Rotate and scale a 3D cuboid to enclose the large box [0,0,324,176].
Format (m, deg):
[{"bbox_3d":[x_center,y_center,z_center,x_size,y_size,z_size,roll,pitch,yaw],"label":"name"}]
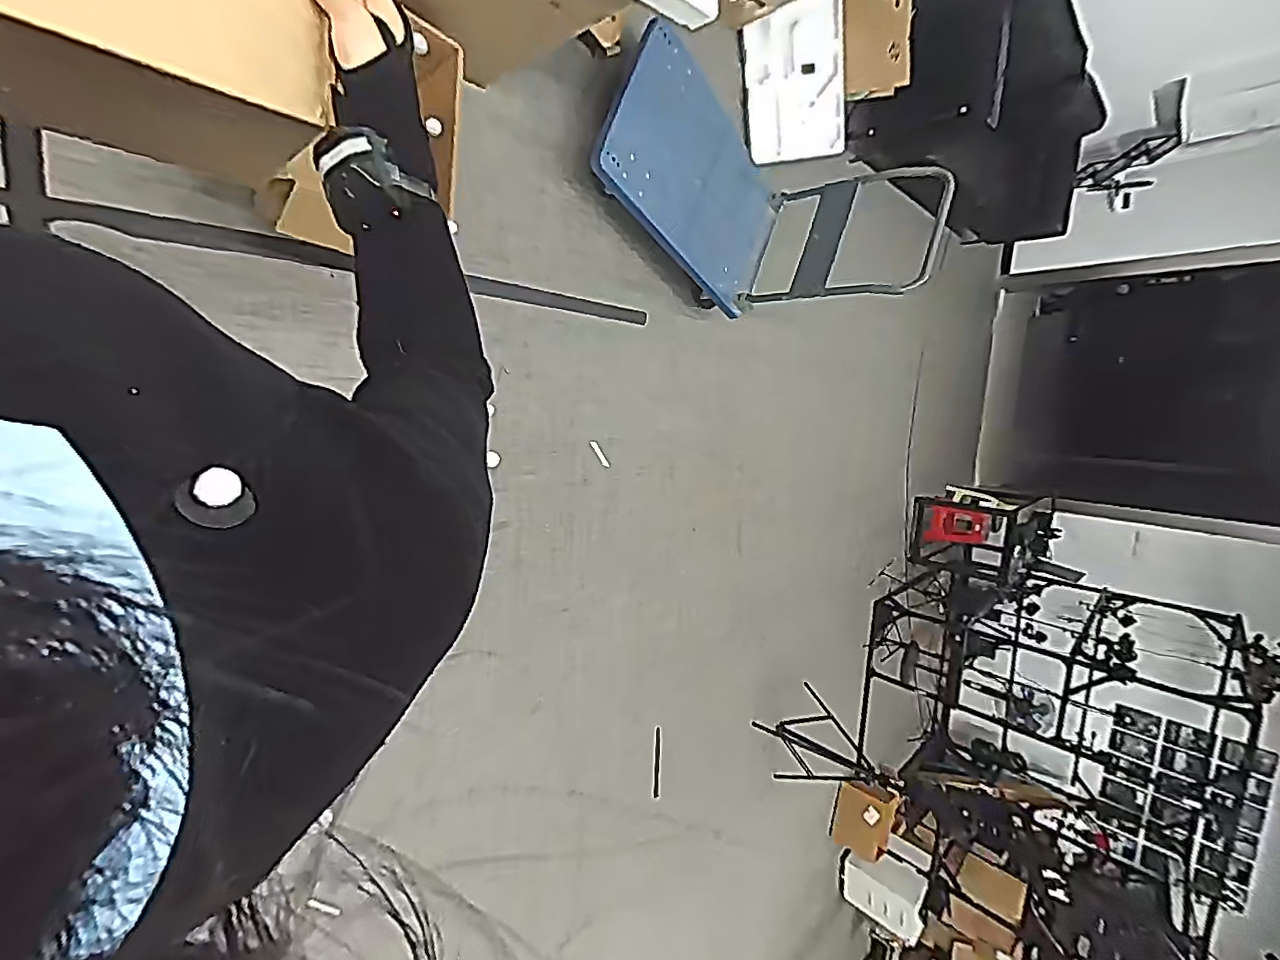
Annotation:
[{"bbox_3d":[-0.491,-0.465,0.389,0.408,0.320,0.320,-4,105,-43],"label":"large box"}]
